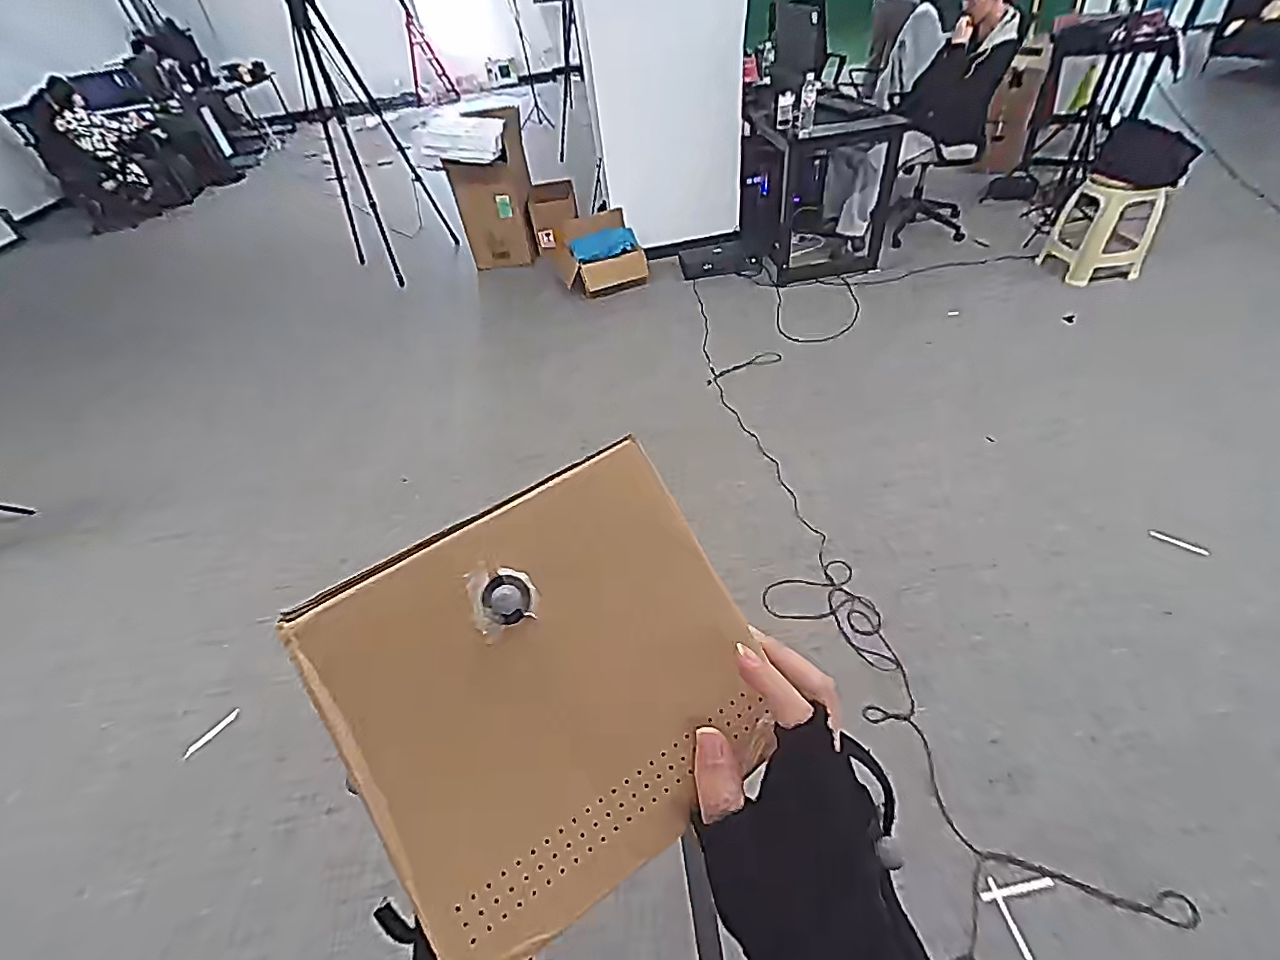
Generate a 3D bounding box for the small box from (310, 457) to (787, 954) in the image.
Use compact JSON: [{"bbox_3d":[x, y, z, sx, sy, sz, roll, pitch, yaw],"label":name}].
[{"bbox_3d":[-0.048,0.115,0.328,0.179,0.168,0.176,-29,84,-17],"label":"small box"}]
